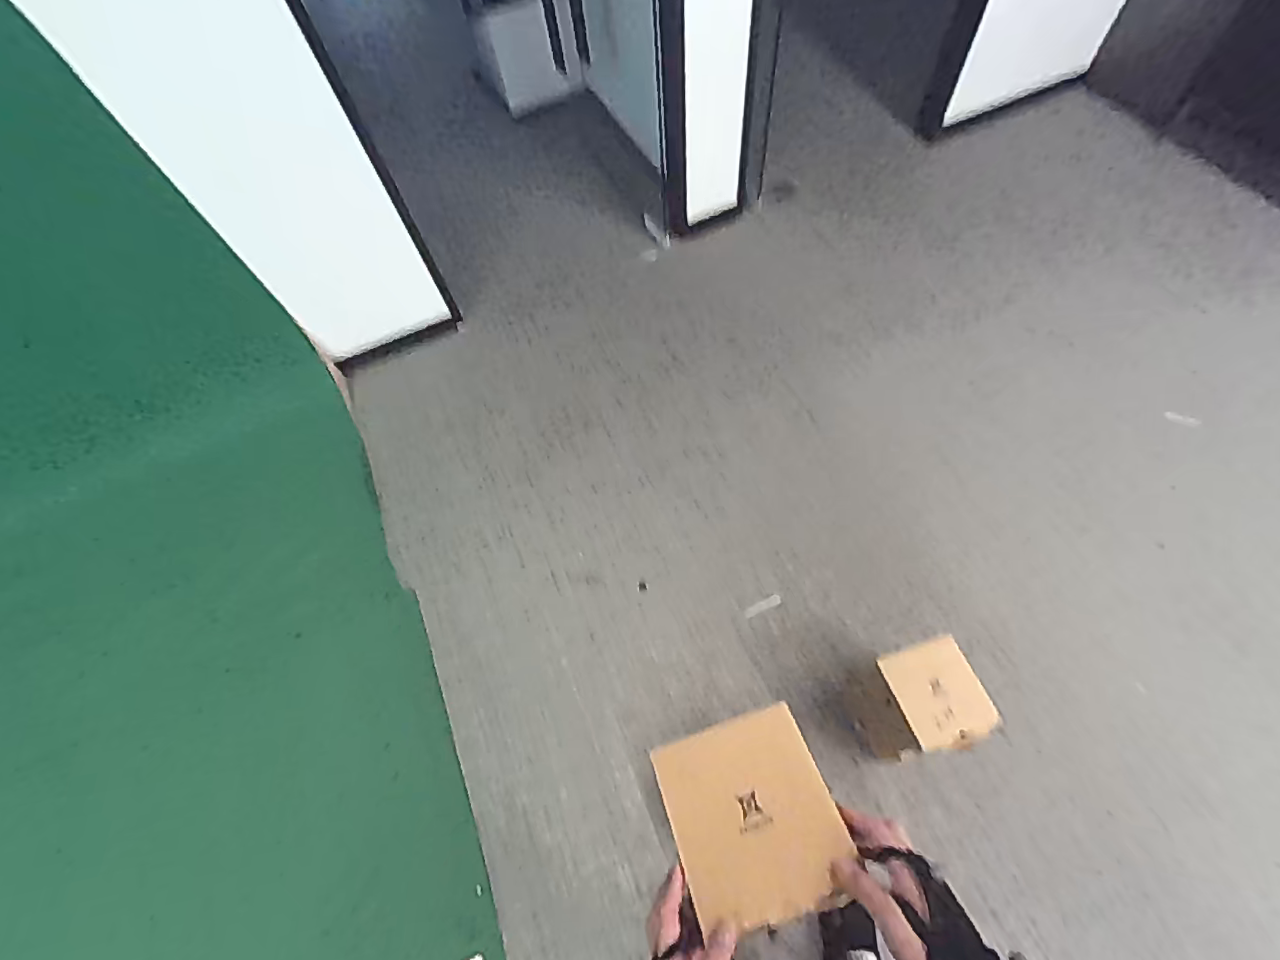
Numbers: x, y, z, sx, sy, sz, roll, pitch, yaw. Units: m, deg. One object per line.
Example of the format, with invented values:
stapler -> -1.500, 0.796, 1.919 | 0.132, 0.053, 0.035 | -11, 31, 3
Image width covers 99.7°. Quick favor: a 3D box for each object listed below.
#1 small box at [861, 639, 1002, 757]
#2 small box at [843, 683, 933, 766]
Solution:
small box -> 0.587, 0.455, 1.119 | 0.168, 0.176, 0.179 | -18, 61, -3
small box -> 0.605, 0.542, 1.258 | 0.168, 0.176, 0.179 | -21, 62, -6
